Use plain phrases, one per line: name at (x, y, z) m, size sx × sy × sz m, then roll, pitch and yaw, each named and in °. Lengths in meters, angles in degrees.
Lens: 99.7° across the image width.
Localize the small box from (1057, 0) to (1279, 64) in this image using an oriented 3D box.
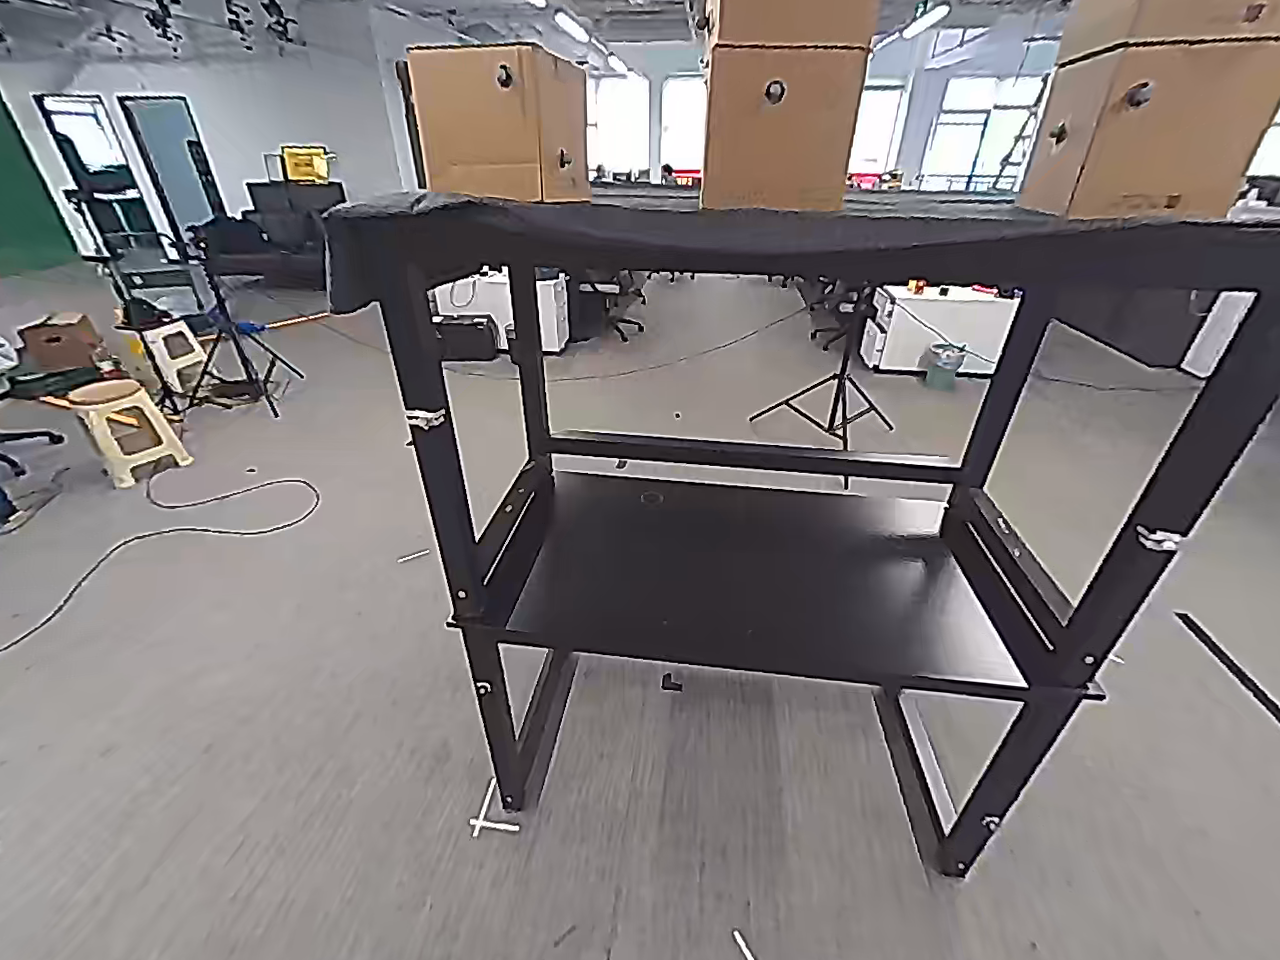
small box at (0.597, -0.564, 0.580) m, size 0.168 × 0.176 × 0.179 m, roll 5°, pitch 31°, yaw 11°

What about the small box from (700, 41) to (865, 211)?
small box at (0.169, -0.448, 0.708) m, size 0.179 × 0.176 × 0.168 m, roll 3°, pitch 30°, yaw 3°

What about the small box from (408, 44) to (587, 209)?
small box at (-0.183, -0.472, 0.745) m, size 0.179 × 0.176 × 0.168 m, roll 9°, pitch 30°, yaw 14°

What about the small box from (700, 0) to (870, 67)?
small box at (0.169, -0.594, 0.635) m, size 0.179 × 0.176 × 0.168 m, roll -1°, pitch 29°, yaw 0°
